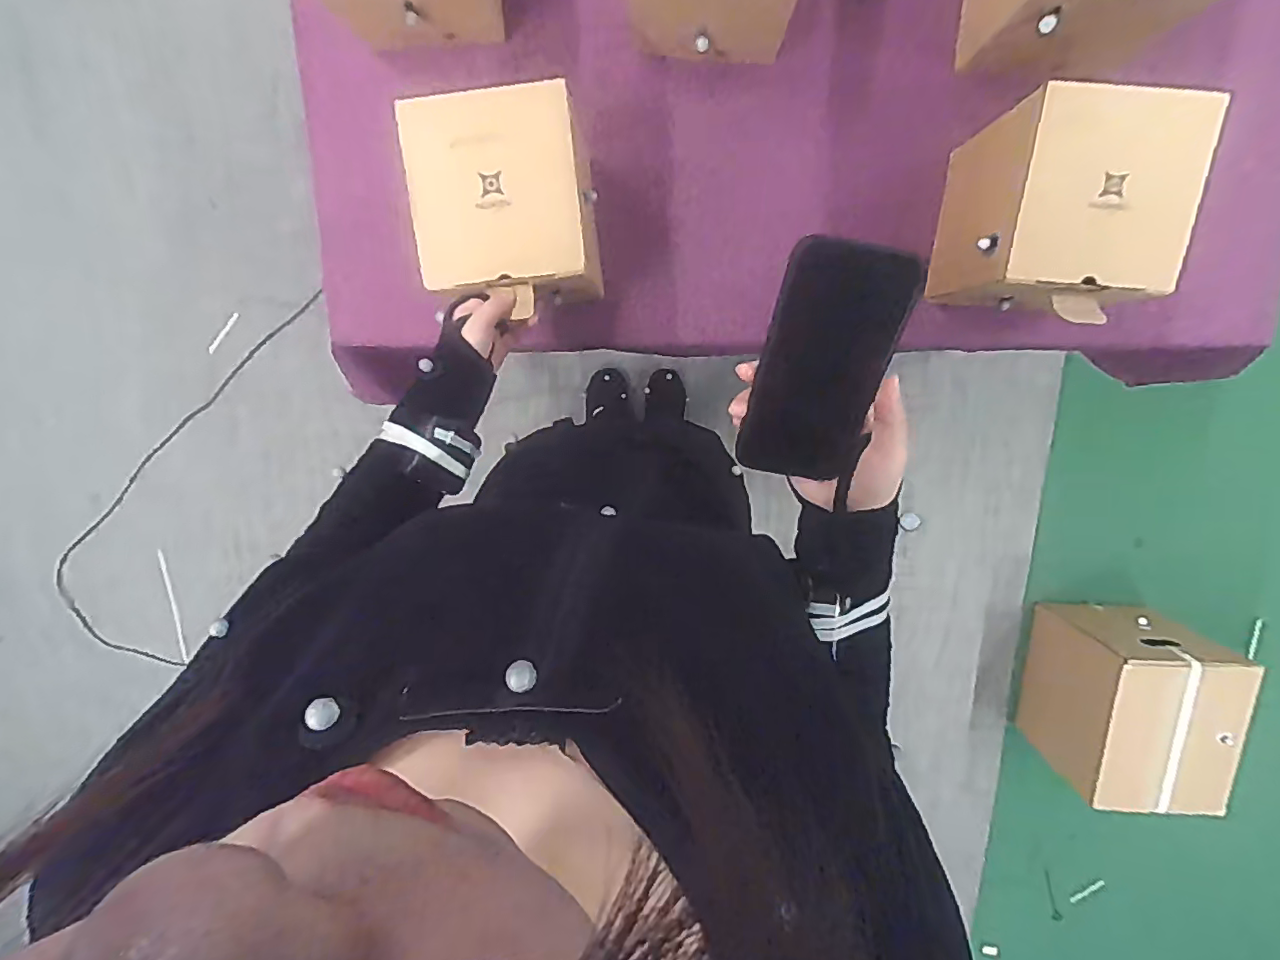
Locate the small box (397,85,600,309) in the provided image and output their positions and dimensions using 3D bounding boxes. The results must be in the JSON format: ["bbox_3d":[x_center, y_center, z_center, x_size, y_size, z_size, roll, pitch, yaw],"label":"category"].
[{"bbox_3d":[-0.140,-0.292,0.602,0.168,0.176,0.179,-5,99,3],"label":"small box"}]

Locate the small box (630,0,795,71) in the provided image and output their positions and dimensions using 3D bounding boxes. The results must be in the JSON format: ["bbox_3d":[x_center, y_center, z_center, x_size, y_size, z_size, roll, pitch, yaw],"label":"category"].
[{"bbox_3d":[0.079,-0.557,0.538,0.168,0.176,0.179,8,103,1],"label":"small box"}]

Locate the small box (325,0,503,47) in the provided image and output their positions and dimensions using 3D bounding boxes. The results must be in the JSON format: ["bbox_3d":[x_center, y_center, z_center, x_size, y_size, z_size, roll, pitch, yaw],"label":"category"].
[{"bbox_3d":[-0.247,-0.577,0.547,0.168,0.176,0.179,-4,104,3],"label":"small box"}]

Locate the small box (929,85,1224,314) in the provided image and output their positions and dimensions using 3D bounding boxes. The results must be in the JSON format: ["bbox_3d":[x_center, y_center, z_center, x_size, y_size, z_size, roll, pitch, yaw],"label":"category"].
[{"bbox_3d":[0.443,-0.284,0.586,0.168,0.176,0.179,5,103,1],"label":"small box"}]
